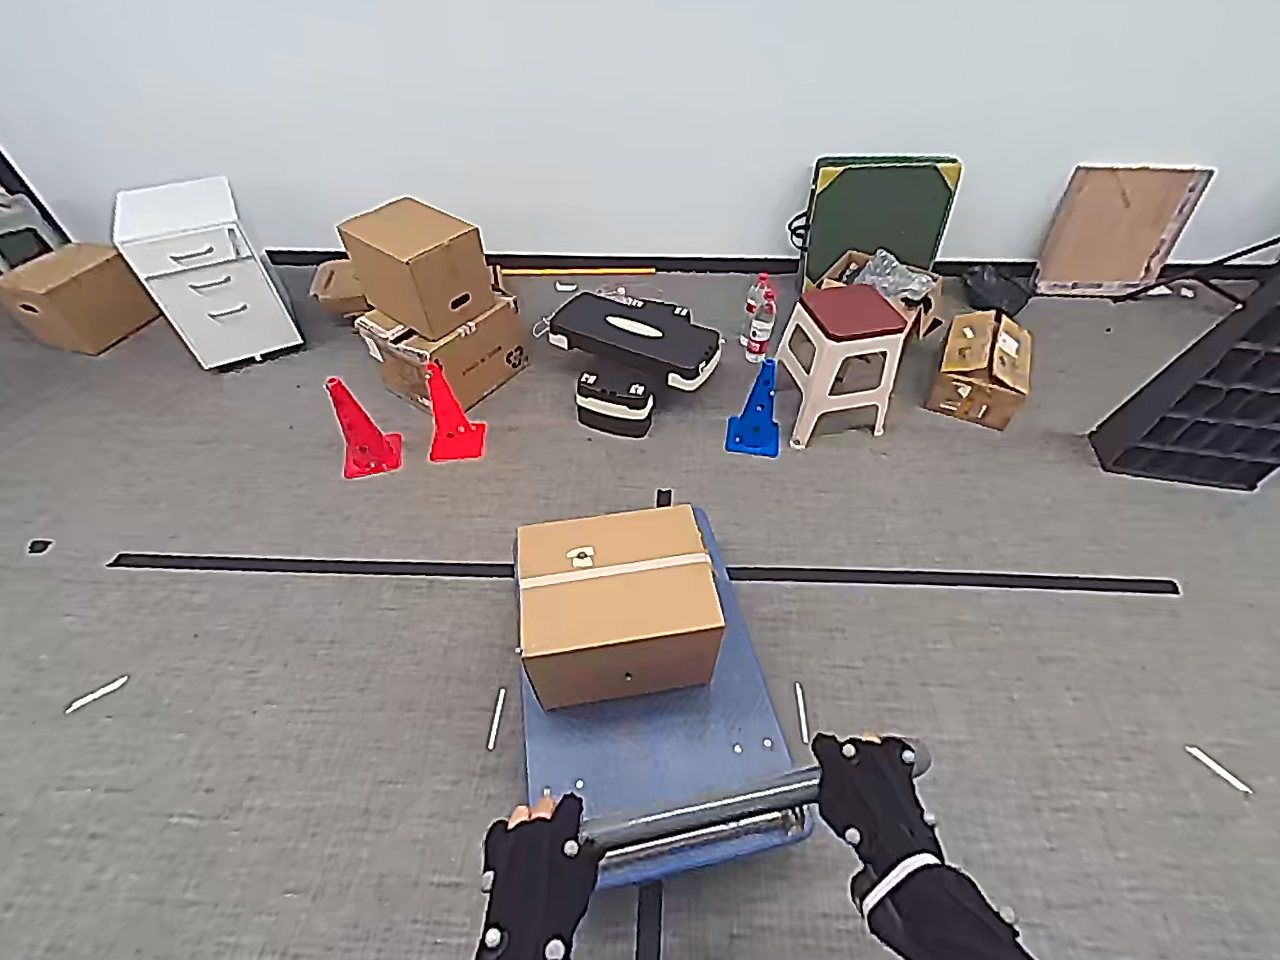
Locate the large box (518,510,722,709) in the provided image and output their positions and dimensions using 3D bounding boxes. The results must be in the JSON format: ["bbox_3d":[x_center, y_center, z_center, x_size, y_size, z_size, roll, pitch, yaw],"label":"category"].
[{"bbox_3d":[-0.052,0.307,1.273,0.408,0.320,0.320,-8,50,-5],"label":"large box"}]
